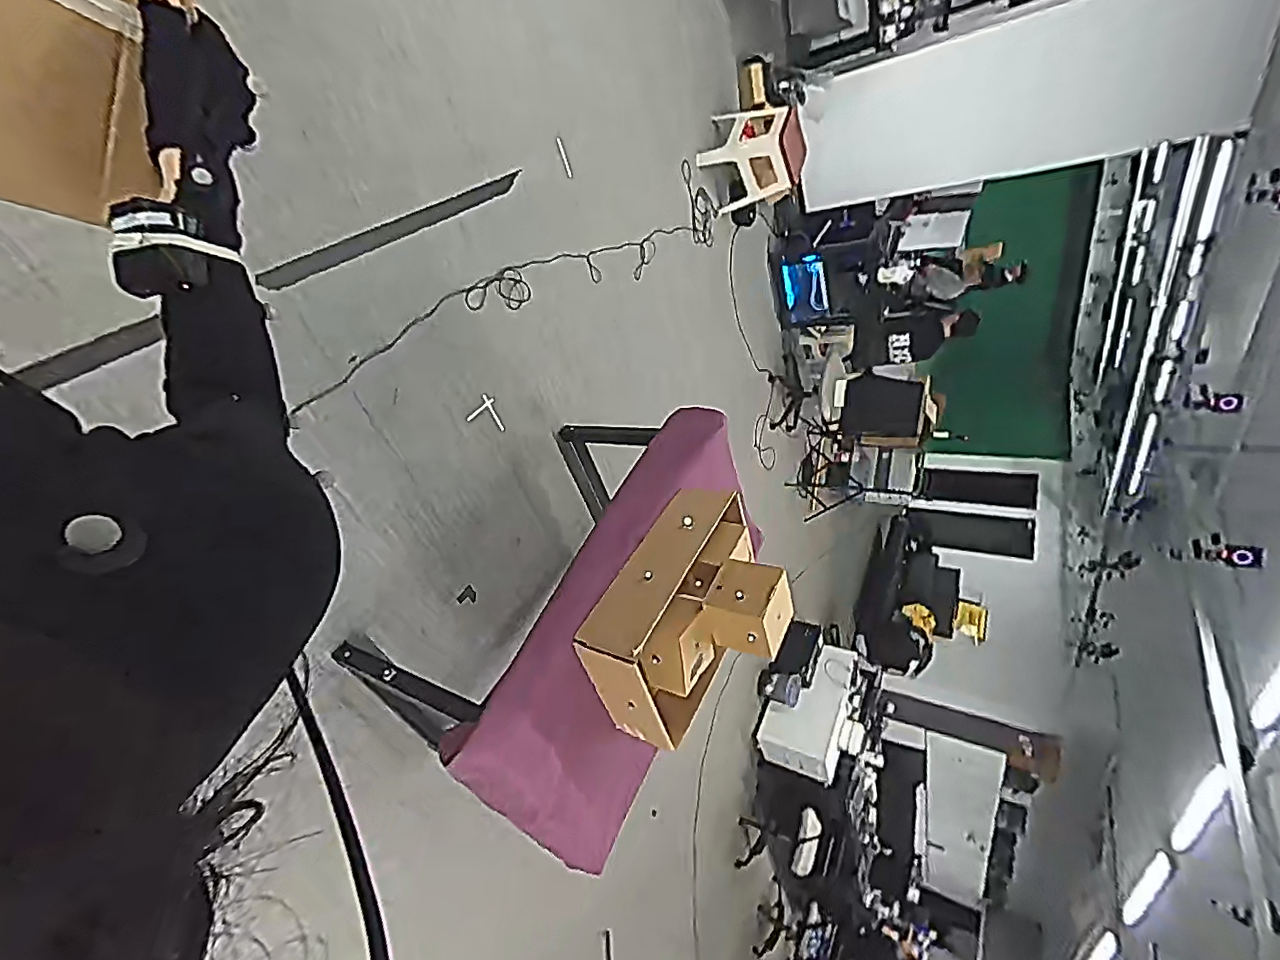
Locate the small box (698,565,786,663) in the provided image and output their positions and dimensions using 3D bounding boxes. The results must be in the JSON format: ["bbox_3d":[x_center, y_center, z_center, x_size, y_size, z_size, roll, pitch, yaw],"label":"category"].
[{"bbox_3d":[0.265,0.341,1.410,0.168,0.176,0.179,-52,137,-38],"label":"small box"}]
